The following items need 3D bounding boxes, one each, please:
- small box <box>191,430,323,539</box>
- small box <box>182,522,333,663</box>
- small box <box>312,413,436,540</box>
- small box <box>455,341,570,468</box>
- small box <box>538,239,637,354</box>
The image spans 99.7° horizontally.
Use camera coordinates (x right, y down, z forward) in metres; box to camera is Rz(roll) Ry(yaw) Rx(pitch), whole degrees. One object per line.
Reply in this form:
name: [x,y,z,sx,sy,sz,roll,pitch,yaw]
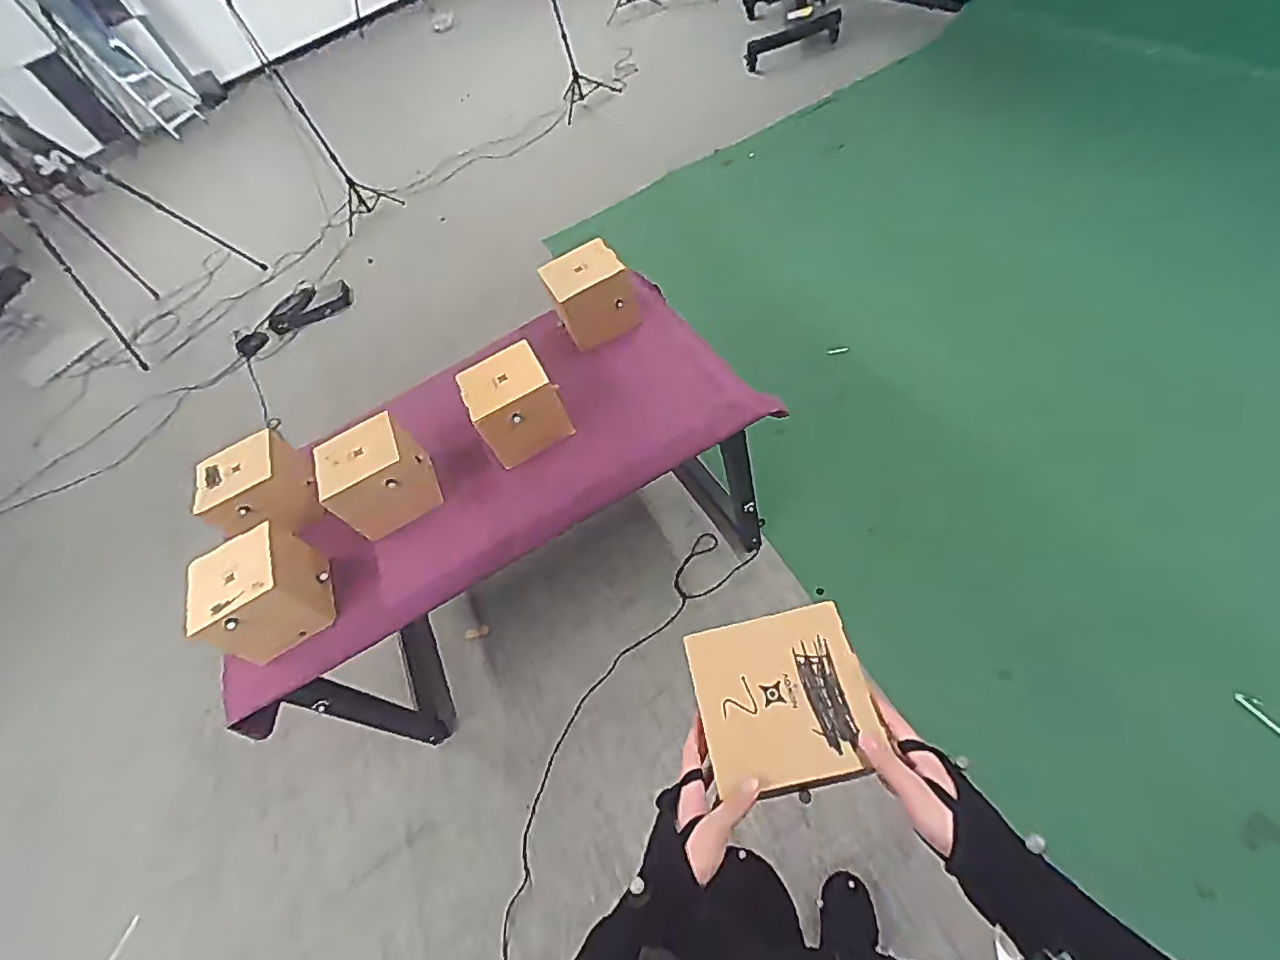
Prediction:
small box: [-0.858,0.026,1.222,0.179,0.176,0.168,-29,54,-5]
small box: [-0.731,0.222,1.049,0.168,0.176,0.179,-31,52,-6]
small box: [-0.558,-0.005,1.155,0.179,0.176,0.168,-29,53,-4]
small box: [-0.268,-0.160,1.179,0.179,0.176,0.168,-30,54,-3]
small box: [-0.120,-0.448,1.328,0.179,0.176,0.168,-29,55,-3]
